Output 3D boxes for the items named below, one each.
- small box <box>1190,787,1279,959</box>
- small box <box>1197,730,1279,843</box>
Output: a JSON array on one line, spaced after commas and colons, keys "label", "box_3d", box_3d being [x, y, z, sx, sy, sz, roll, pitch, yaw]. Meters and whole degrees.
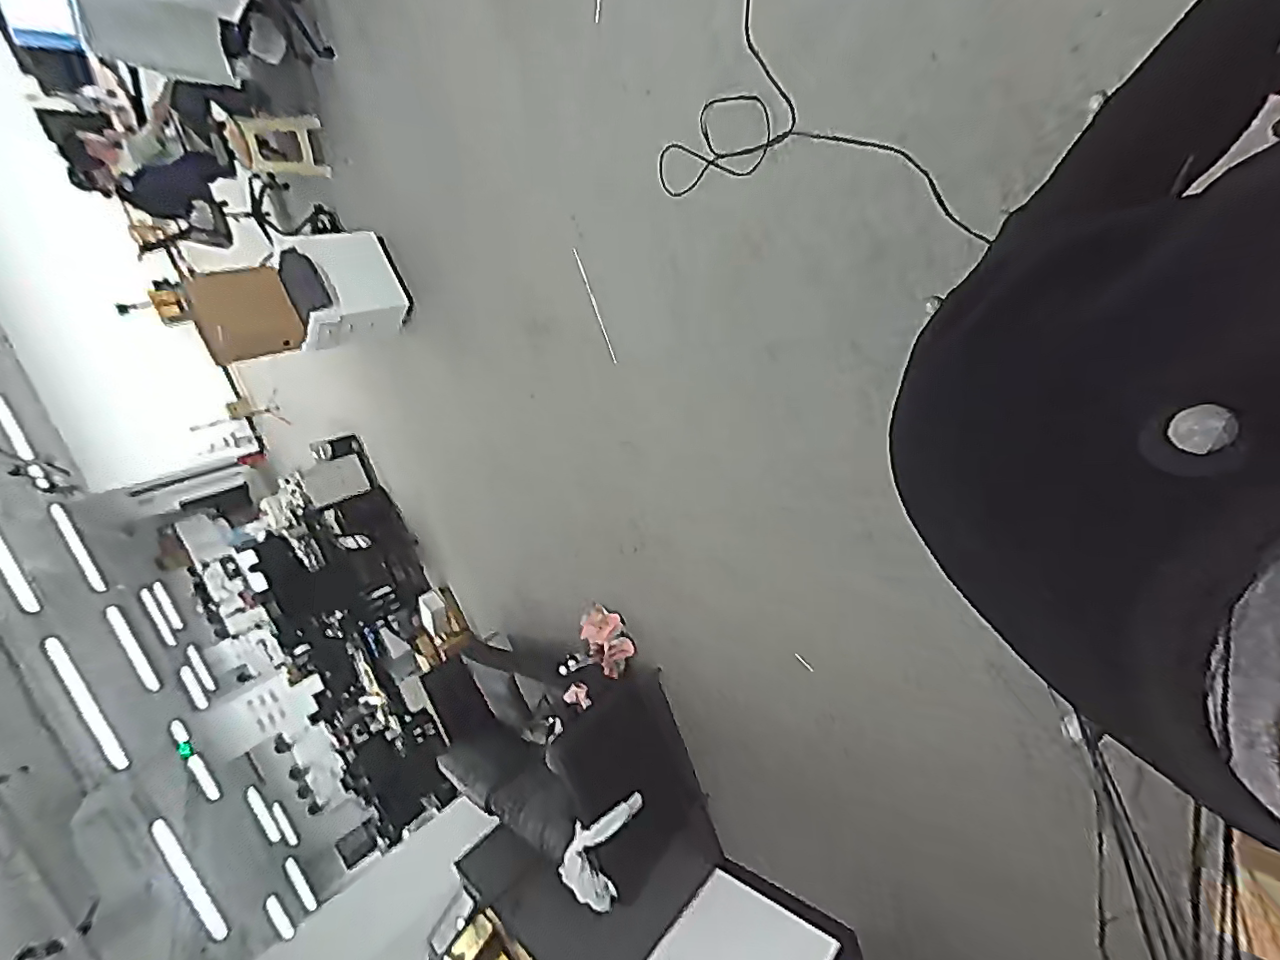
[{"label": "small box", "box_3d": [1.037, 0.653, 0.884, 0.168, 0.176, 0.179, 13, 120, 46]}, {"label": "small box", "box_3d": [1.154, 0.595, 0.982, 0.179, 0.176, 0.168, 10, 117, 46]}]
